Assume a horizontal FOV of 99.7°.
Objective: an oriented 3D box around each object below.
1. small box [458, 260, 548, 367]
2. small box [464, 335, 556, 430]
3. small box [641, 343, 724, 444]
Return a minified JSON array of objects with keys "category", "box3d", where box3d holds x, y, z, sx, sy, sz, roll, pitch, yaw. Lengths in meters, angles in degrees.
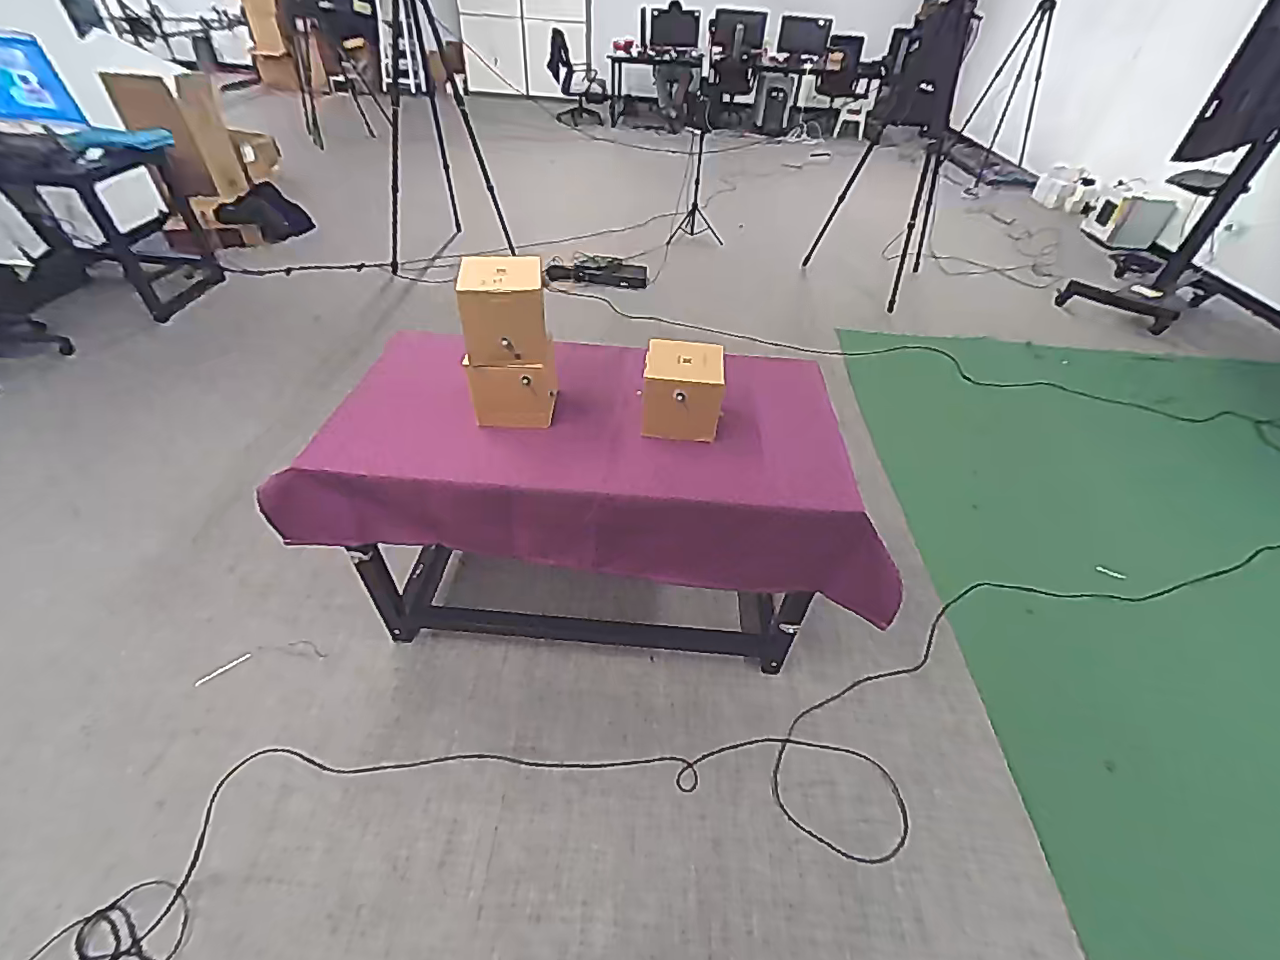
[{"category":"small box","box3d":[-0.289,-0.361,1.173,0.168,0.176,0.179,-4,44,-8]},{"category":"small box","box3d":[-0.297,-0.233,1.277,0.179,0.176,0.168,2,43,-3]},{"category":"small box","box3d":[0.098,-0.202,1.268,0.179,0.176,0.168,6,44,2]}]
